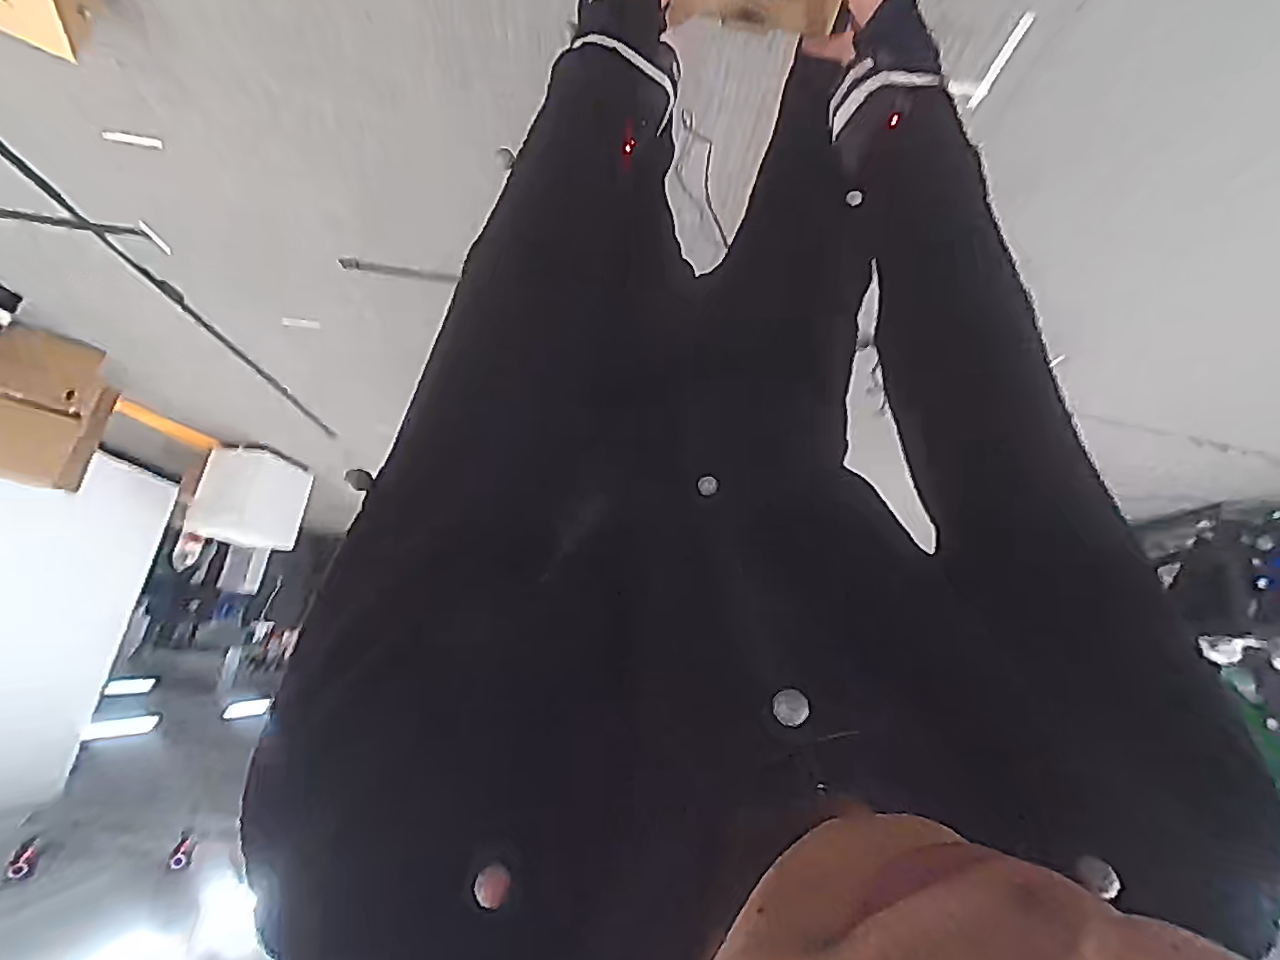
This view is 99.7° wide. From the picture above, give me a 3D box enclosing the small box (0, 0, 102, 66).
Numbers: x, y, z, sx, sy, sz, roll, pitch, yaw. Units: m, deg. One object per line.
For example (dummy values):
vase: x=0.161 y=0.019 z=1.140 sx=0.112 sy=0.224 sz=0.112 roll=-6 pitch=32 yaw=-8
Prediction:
small box: x=-1.136 y=-0.930 z=0.986 sx=0.179 sy=0.176 sz=0.168 roll=16 pitch=158 yaw=-28
